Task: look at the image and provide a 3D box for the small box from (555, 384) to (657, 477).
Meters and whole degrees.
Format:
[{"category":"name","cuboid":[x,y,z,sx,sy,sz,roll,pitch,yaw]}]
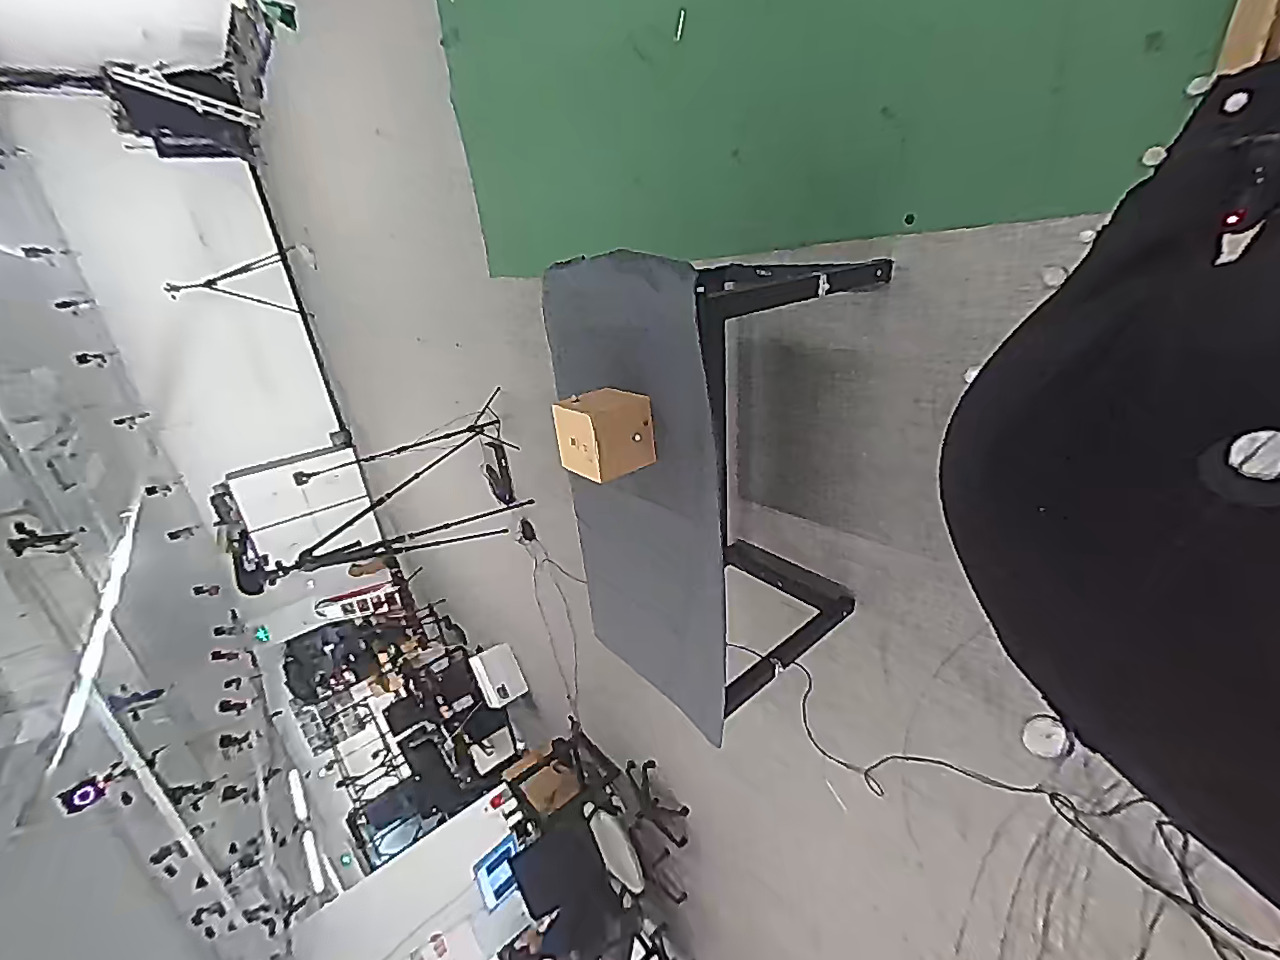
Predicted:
[{"category":"small box","cuboid":[-0.080,-0.127,1.302,0.179,0.176,0.168,22,127,48]}]
